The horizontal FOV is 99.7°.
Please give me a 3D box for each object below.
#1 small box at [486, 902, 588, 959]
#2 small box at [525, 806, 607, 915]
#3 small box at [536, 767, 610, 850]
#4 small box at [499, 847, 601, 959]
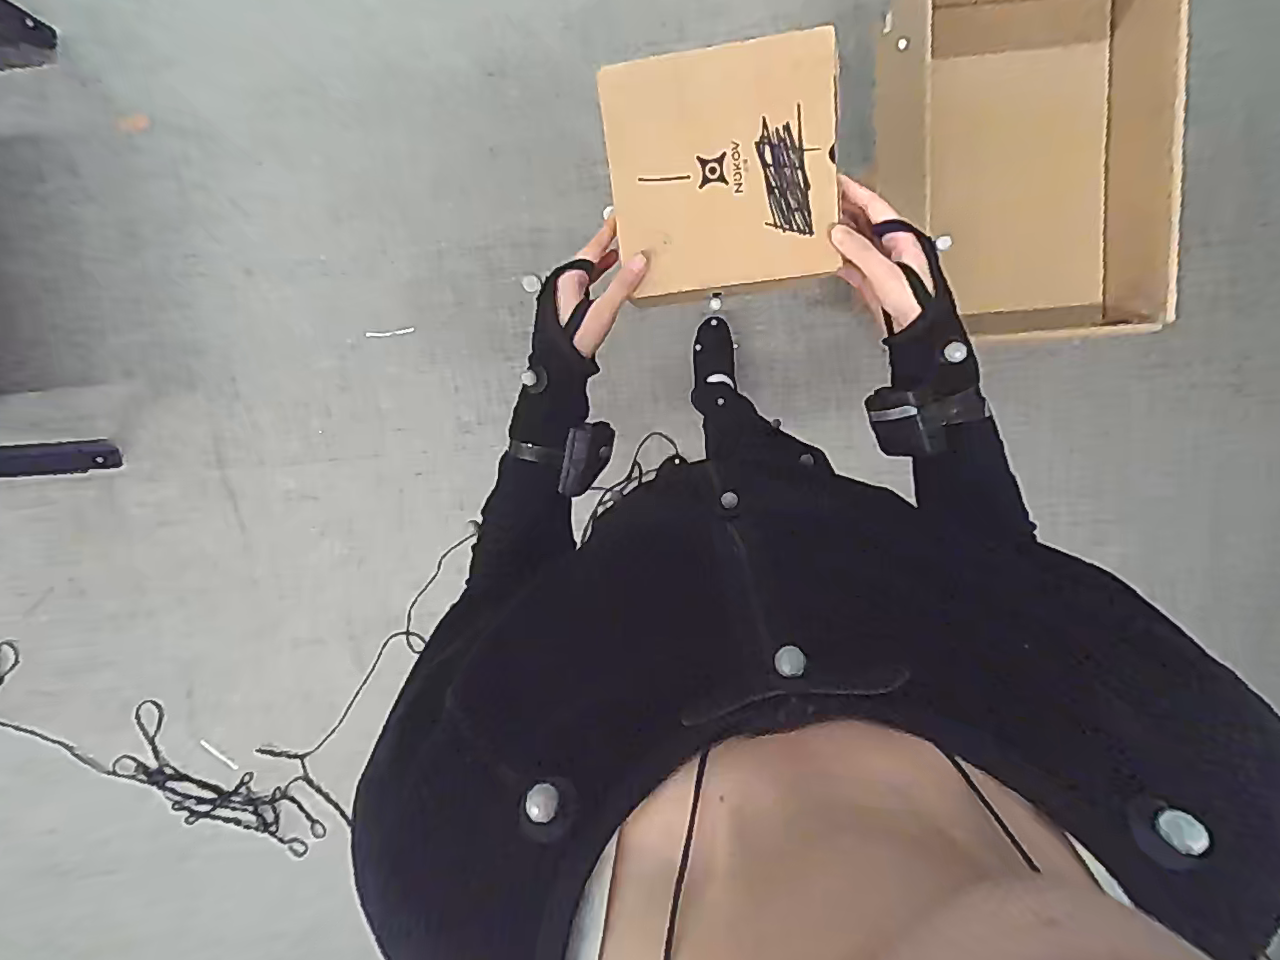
[{"bbox_3d":[-0.194,0.959,1.030,0.168,0.176,0.179,-7,93,3],"label":"small box"},{"bbox_3d":[-0.178,0.948,1.356,0.179,0.176,0.168,-5,94,3],"label":"small box"},{"bbox_3d":[-0.180,0.934,1.519,0.179,0.176,0.168,-5,95,4],"label":"small box"},{"bbox_3d":[-0.191,0.949,1.192,0.179,0.176,0.168,-7,94,4],"label":"small box"}]
